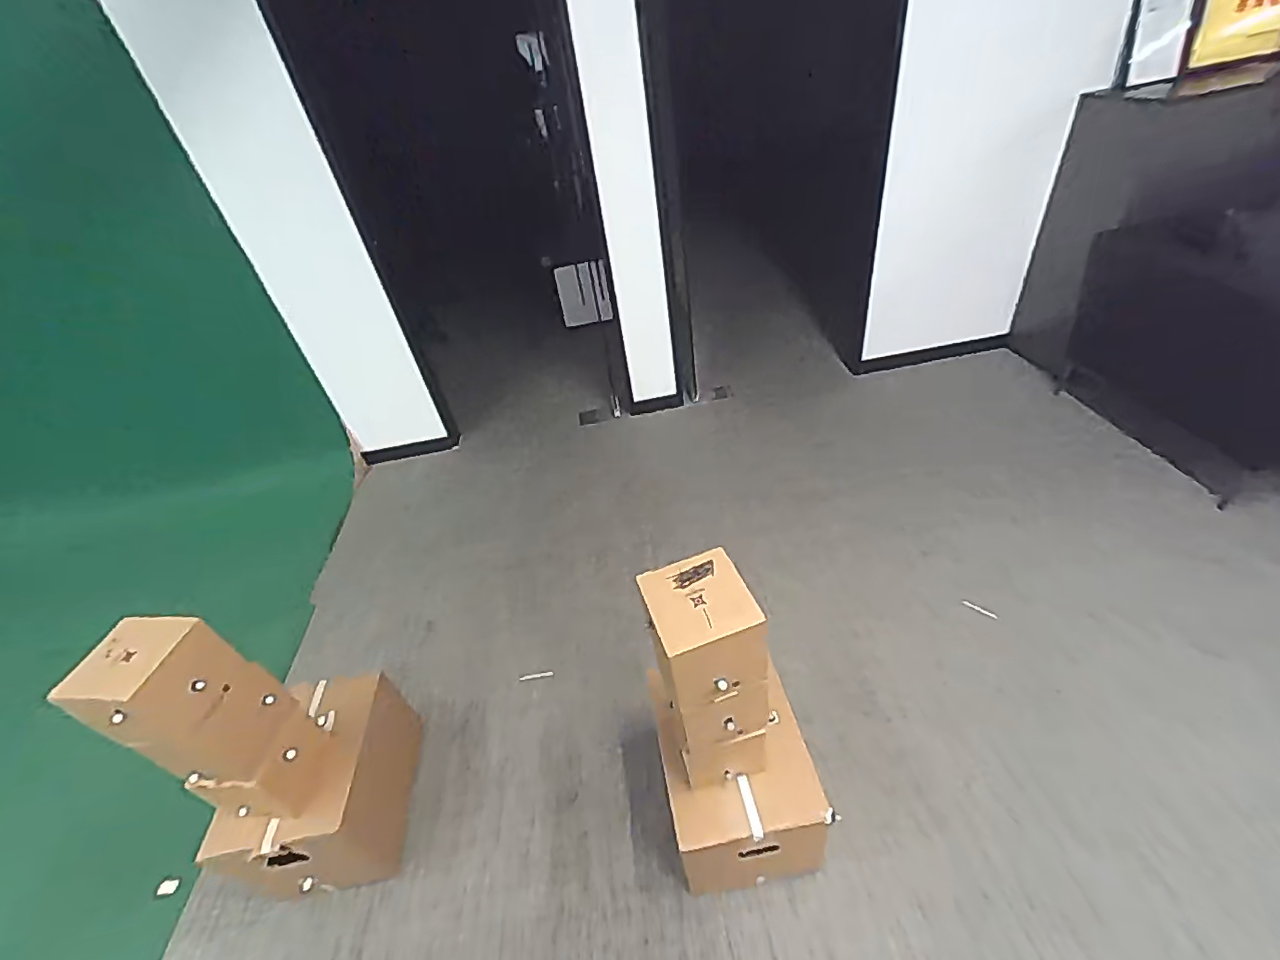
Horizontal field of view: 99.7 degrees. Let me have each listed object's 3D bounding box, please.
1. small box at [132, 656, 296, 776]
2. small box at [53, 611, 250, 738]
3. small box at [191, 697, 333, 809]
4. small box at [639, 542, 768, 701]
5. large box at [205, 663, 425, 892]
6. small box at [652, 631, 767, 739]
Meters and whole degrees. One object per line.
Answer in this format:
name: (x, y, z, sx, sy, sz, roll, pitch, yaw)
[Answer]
small box: (-0.860, 0.485, 1.119, 0.168, 0.176, 0.179, -3, 41, 11)
small box: (-0.893, 0.364, 1.011, 0.179, 0.176, 0.168, -2, 40, 11)
small box: (-0.830, 0.613, 1.215, 0.168, 0.176, 0.179, -5, 40, 8)
small box: (0.109, 0.244, 0.936, 0.168, 0.176, 0.179, -18, 41, -7)
large box: (-0.797, 0.764, 1.409, 0.320, 0.320, 0.408, -11, 39, -1)
small box: (0.135, 0.370, 1.040, 0.168, 0.176, 0.179, -17, 41, -7)
